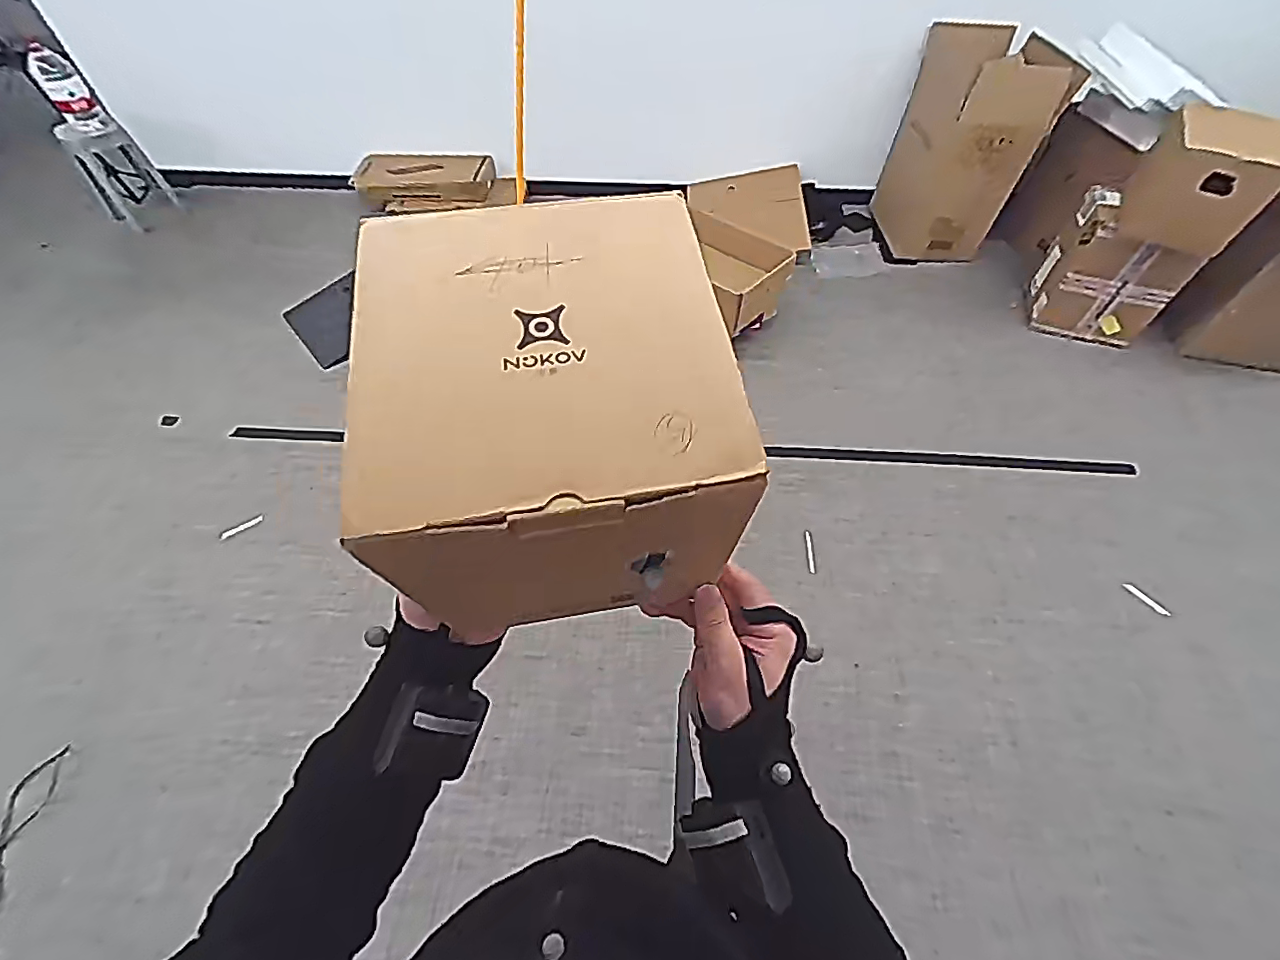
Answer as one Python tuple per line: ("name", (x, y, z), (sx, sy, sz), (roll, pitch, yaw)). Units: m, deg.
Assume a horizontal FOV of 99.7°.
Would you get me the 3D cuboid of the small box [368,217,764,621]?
("small box", (-0.043, -0.023, 0.326), (0.168, 0.176, 0.179), (-8, 63, -7))
